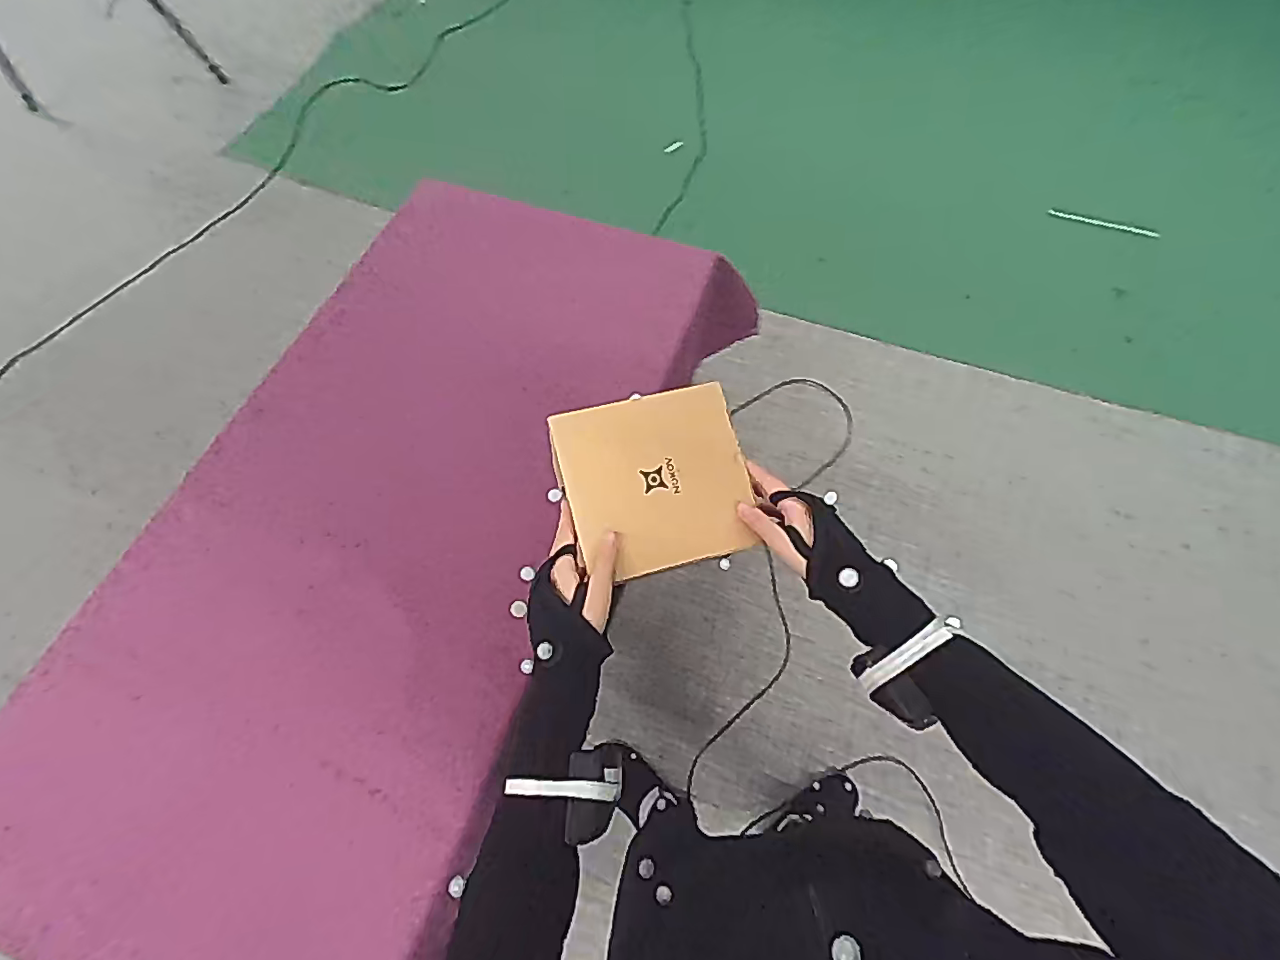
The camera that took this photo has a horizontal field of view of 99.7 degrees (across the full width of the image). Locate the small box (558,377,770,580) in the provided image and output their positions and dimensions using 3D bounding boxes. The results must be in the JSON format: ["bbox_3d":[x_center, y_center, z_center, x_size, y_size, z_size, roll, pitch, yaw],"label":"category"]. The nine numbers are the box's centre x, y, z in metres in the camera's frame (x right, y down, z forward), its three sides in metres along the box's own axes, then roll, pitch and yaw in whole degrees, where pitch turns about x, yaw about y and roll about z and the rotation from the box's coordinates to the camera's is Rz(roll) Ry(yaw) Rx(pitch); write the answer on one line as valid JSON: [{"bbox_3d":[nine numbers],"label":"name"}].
[{"bbox_3d":[0.014,0.009,0.597,0.179,0.176,0.168,-13,79,-11],"label":"small box"}]
